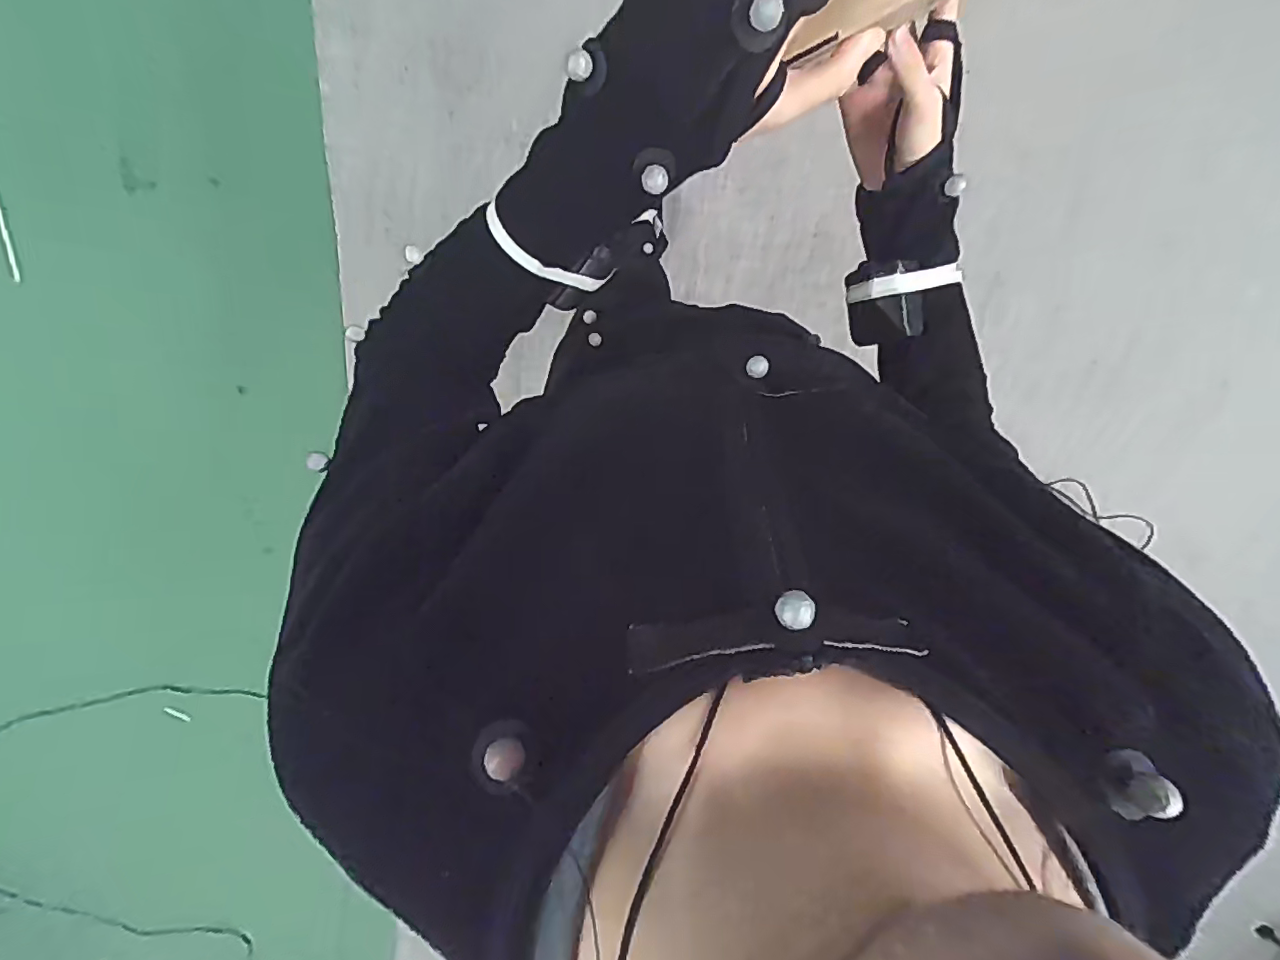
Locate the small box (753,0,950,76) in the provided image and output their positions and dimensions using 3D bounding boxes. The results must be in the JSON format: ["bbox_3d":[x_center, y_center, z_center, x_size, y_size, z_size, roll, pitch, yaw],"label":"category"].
[{"bbox_3d":[0.122,-0.321,0.242,0.168,0.179,0.176,-9,119,29],"label":"small box"}]
